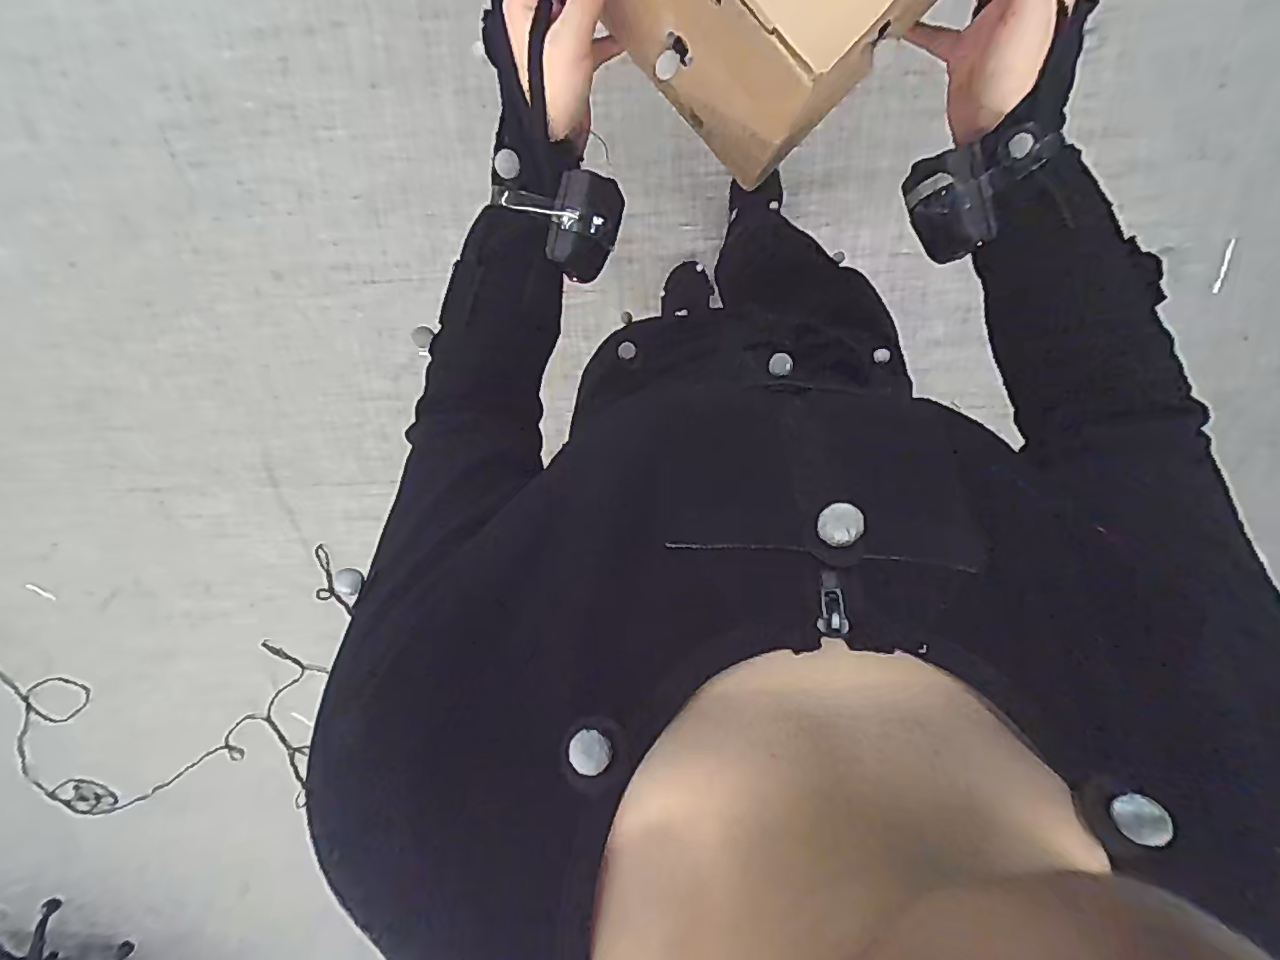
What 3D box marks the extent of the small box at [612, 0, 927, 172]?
[{"bbox_3d":[0.085,-0.318,0.304,0.168,0.176,0.179,44,101,-8],"label":"small box"}]
